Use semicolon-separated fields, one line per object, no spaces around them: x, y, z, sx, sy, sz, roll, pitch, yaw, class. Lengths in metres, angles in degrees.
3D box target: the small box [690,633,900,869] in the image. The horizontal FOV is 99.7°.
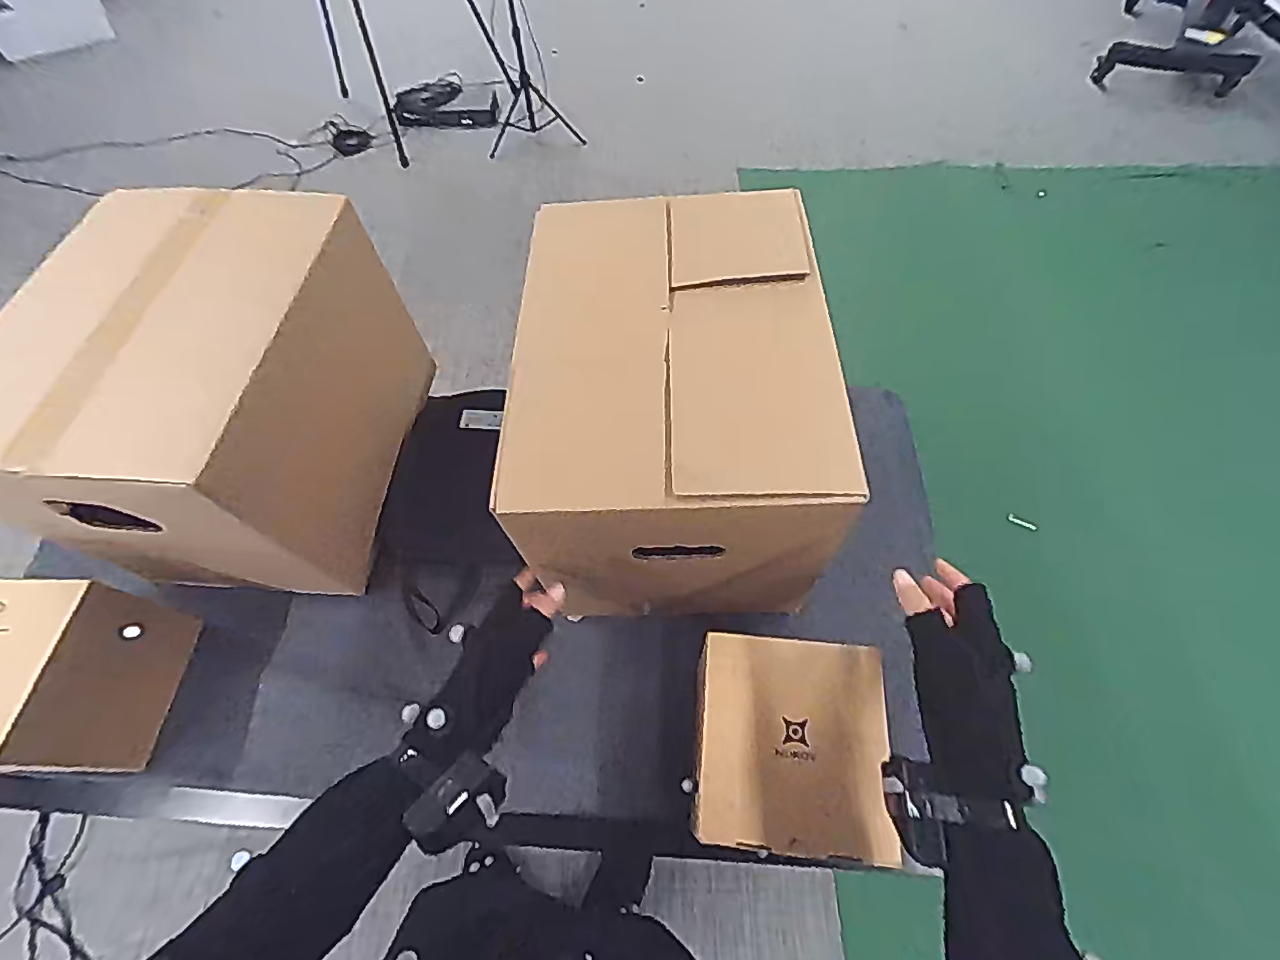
0.141;0.271;0.553;0.168;0.176;0.179;5;62;4;small box
